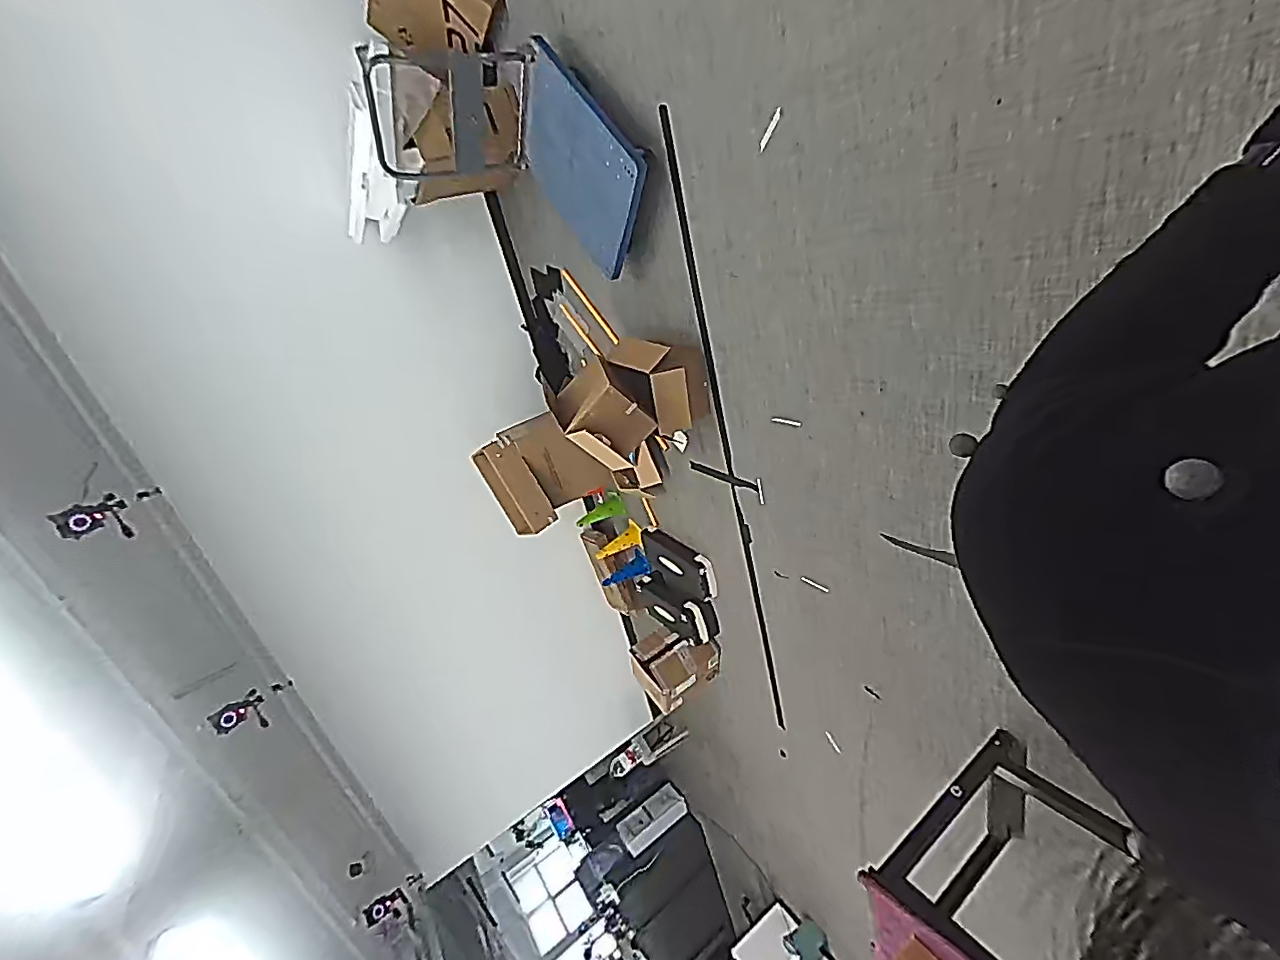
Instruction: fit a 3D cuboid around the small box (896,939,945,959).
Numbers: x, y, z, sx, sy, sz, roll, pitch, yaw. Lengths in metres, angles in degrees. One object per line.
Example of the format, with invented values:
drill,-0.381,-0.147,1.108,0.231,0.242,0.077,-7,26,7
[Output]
small box,0.801,1.433,1.501,0.179,0.176,0.168,26,138,52
